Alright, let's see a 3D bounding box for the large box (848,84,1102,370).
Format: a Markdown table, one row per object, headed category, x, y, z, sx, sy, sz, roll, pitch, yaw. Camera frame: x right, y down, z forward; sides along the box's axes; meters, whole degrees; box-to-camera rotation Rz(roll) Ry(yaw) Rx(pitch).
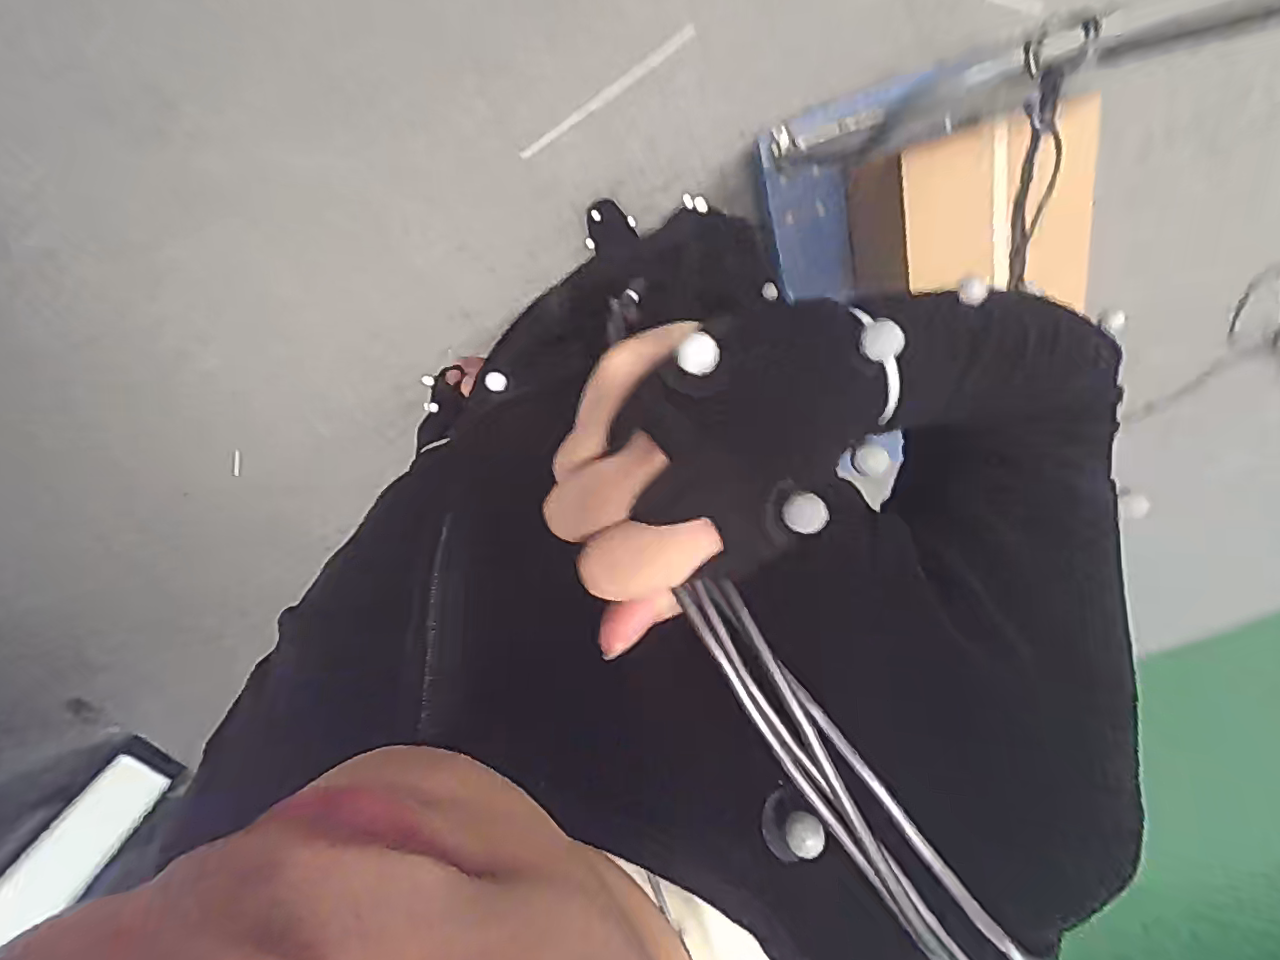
| category | x | y | z | sx | sy | sz | roll | pitch | yaw |
| --- | --- | --- | --- | --- | --- | --- | --- | --- | --- |
| large box | 0.645 | -0.494 | 1.094 | 0.320 | 0.320 | 0.408 | -14 | 117 | 9 |
